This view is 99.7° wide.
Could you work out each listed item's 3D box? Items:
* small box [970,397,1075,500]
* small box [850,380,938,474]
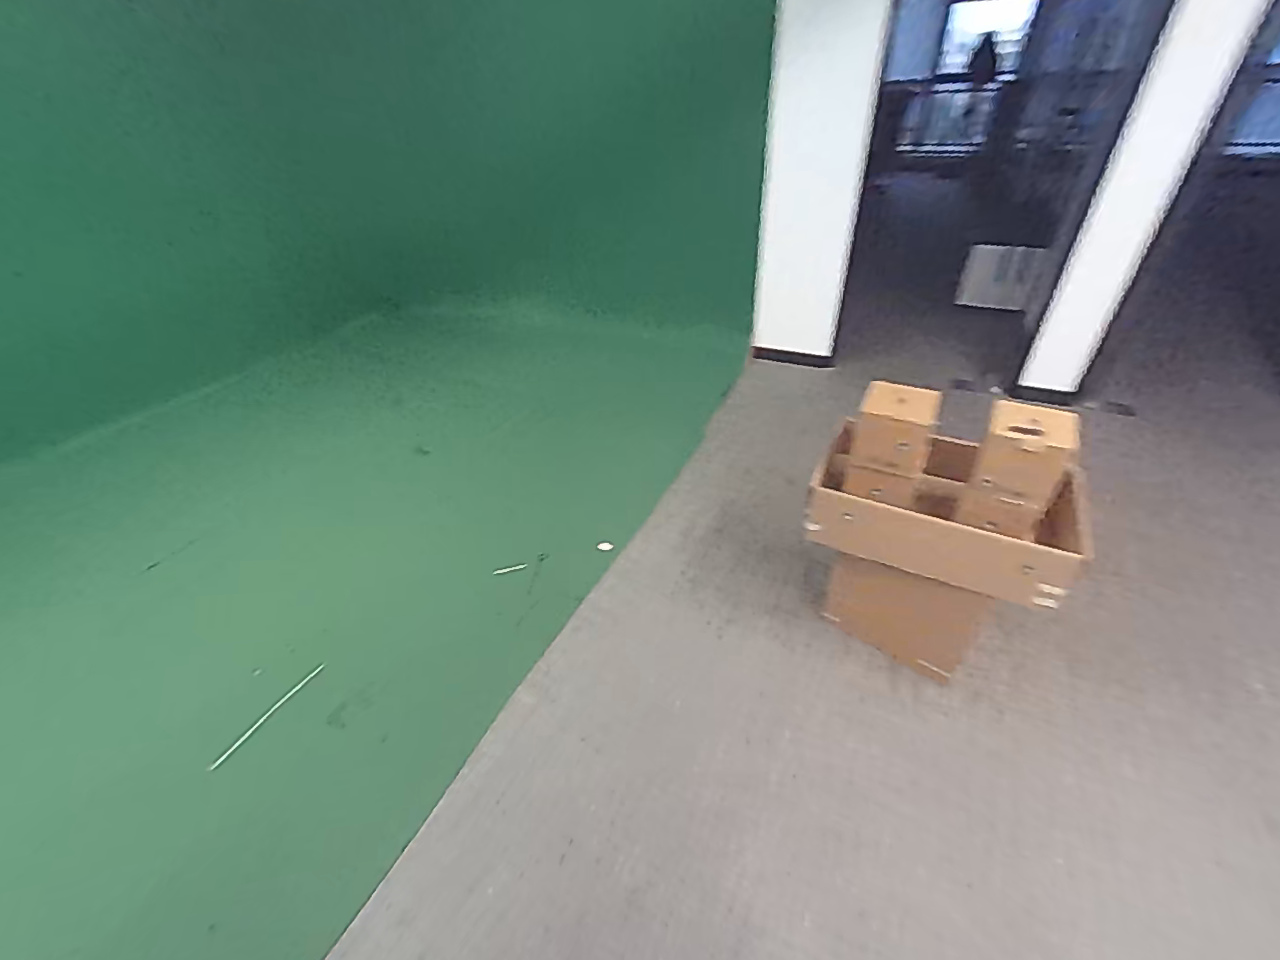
[{"bbox_3d":[0.921,-0.076,1.309,0.168,0.176,0.179,18,42,27],"label":"small box"},{"bbox_3d":[0.663,-0.139,1.420,0.168,0.176,0.179,16,42,25],"label":"small box"}]
